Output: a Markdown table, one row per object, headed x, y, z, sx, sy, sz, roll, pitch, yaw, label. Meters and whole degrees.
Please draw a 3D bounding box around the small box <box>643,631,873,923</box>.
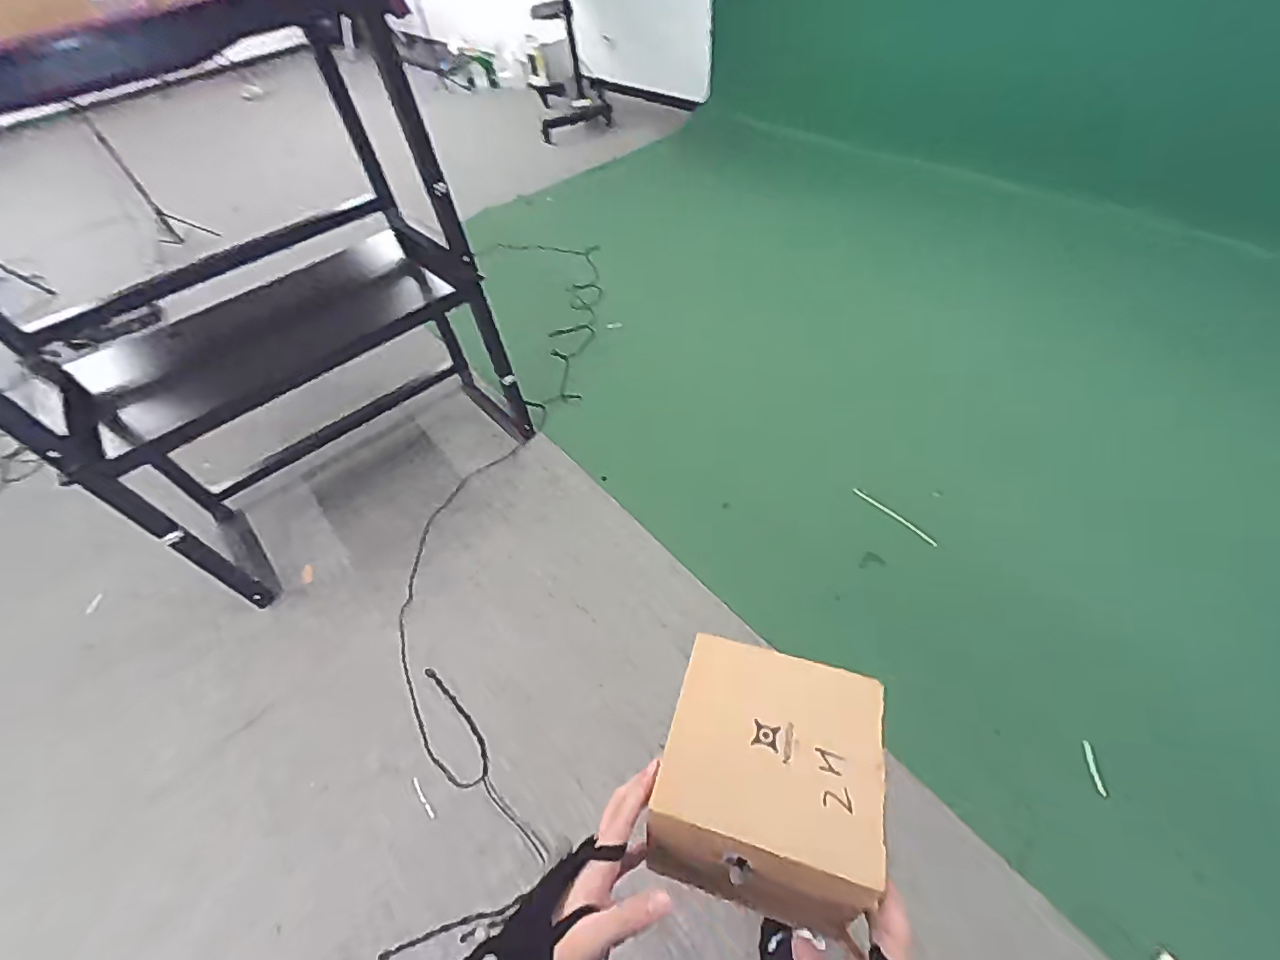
| x | y | z | sx | sy | sz | roll | pitch | yaw | label |
| --- | --- | --- | --- | --- | --- | --- | --- | --- | --- |
| 0.108 | 0.278 | 0.512 | 0.179 | 0.176 | 0.168 | 12 | 41 | 14 | small box |
